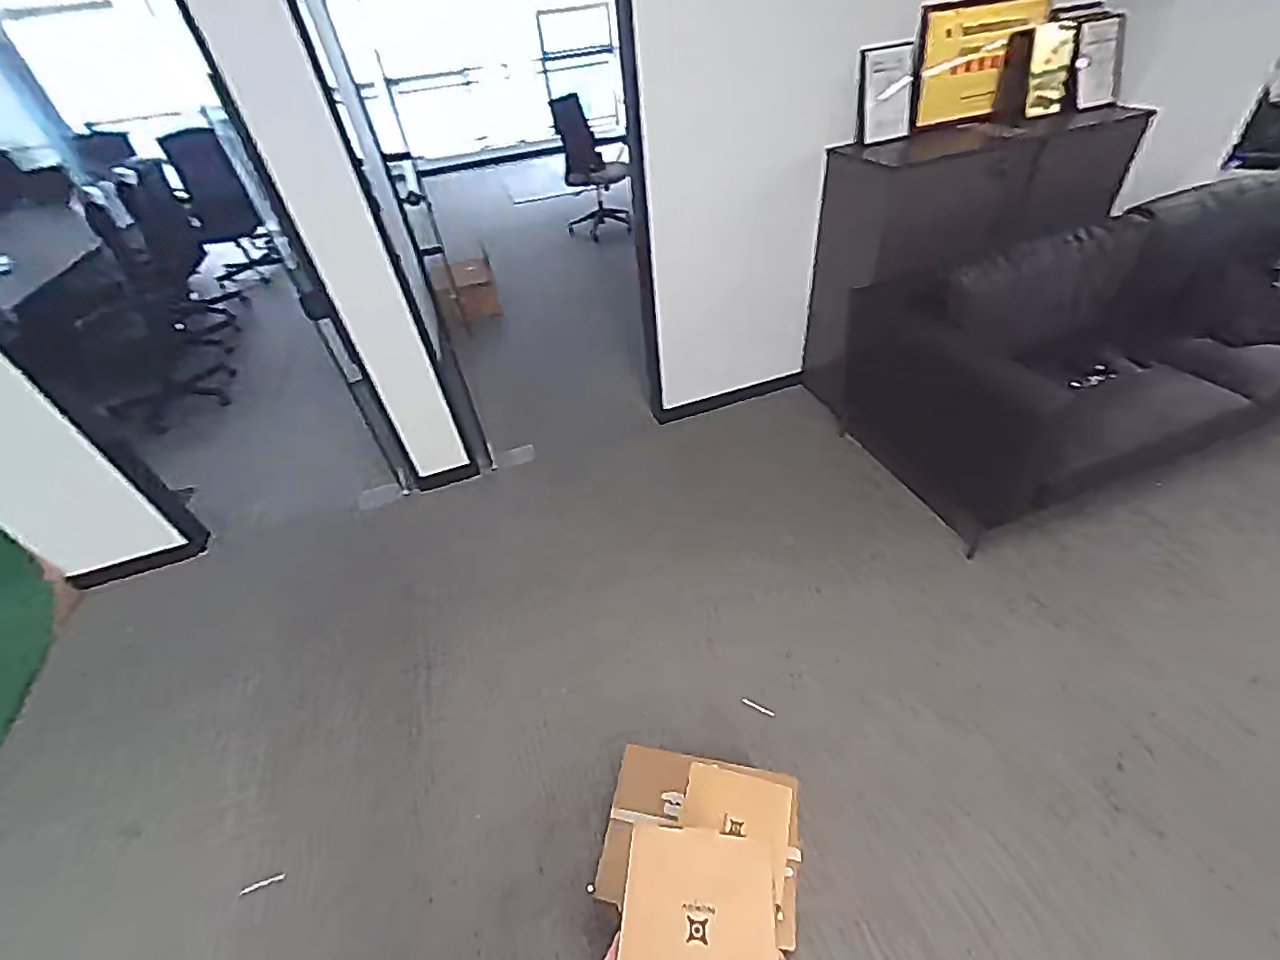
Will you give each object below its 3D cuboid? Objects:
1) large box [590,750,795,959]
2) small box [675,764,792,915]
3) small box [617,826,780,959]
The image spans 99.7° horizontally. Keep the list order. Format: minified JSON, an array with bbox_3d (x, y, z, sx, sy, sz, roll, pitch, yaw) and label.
[{"bbox_3d":[0.139,0.870,1.245,0.408,0.320,0.320,4,42,13],"label":"large box"},{"bbox_3d":[0.154,0.615,0.914,0.179,0.176,0.168,7,45,16],"label":"small box"},{"bbox_3d":[0.065,0.530,0.615,0.168,0.176,0.179,2,39,8],"label":"small box"}]
